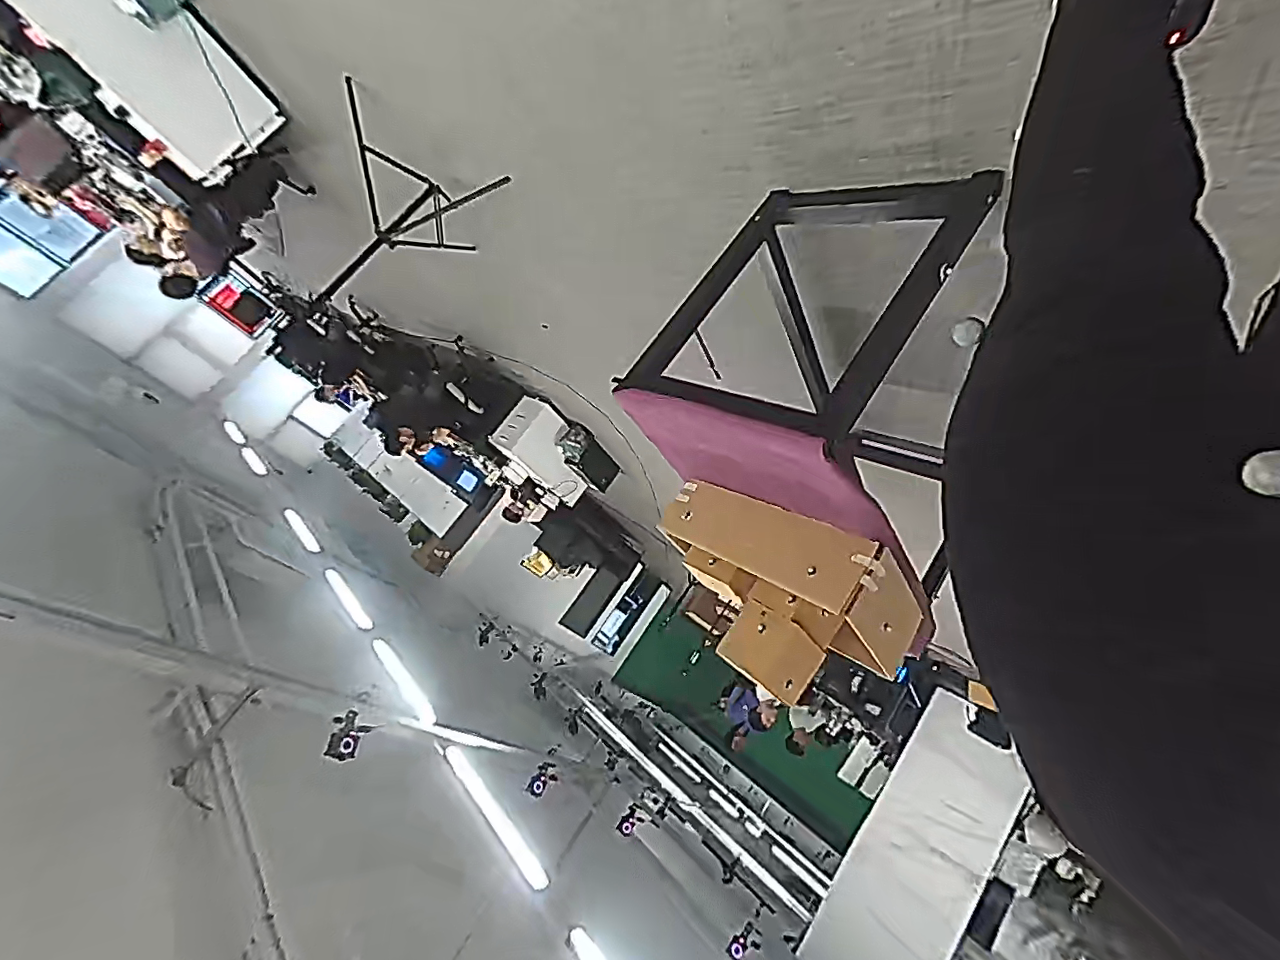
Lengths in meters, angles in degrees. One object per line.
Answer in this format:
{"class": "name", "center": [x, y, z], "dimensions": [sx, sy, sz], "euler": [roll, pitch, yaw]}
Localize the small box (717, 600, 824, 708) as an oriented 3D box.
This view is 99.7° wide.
{"class": "small box", "center": [0.337, 0.439, 1.381], "dimensions": [0.179, 0.176, 0.168], "euler": [46, 166, -34]}
